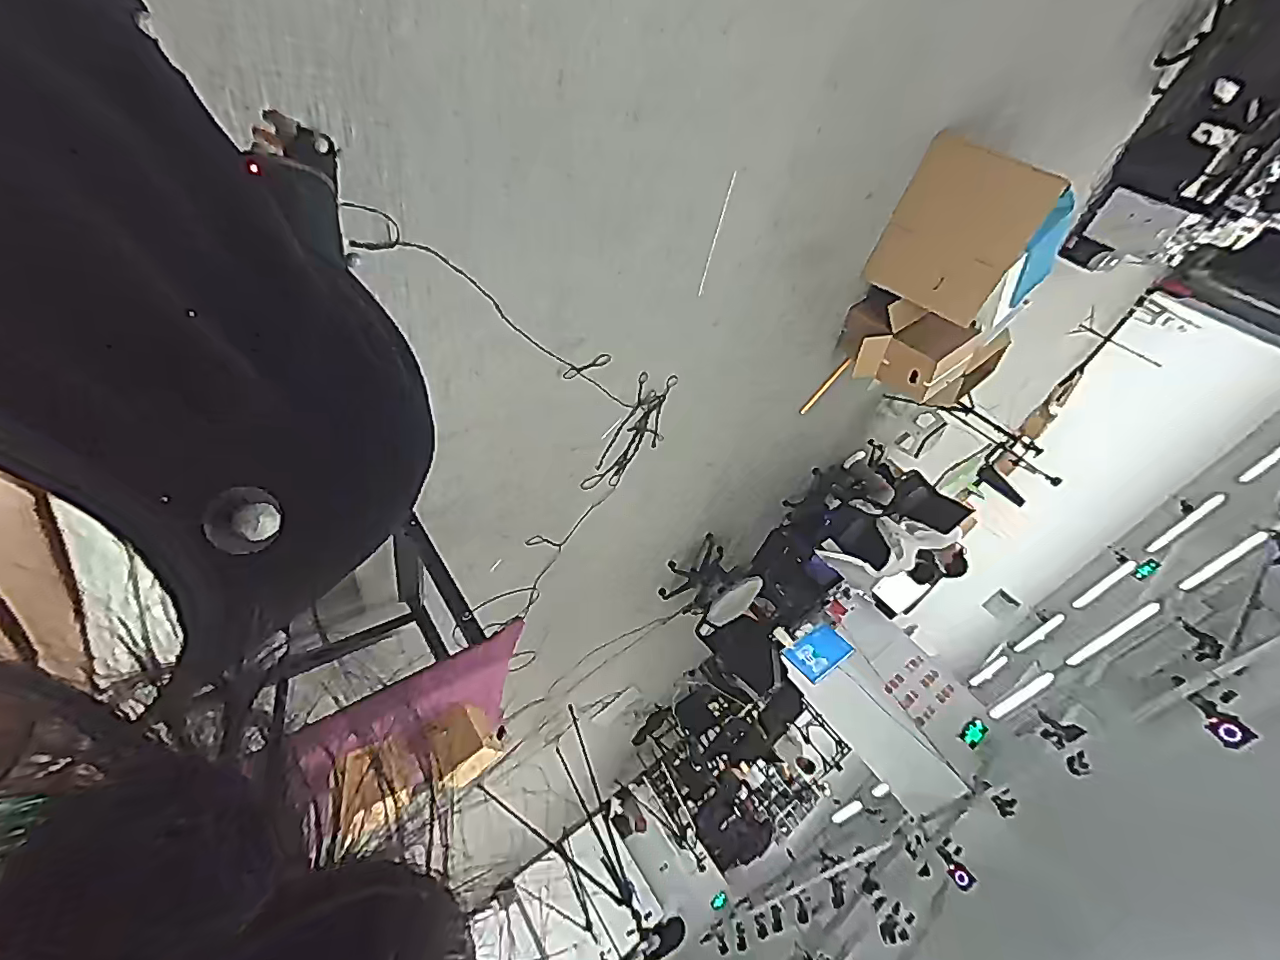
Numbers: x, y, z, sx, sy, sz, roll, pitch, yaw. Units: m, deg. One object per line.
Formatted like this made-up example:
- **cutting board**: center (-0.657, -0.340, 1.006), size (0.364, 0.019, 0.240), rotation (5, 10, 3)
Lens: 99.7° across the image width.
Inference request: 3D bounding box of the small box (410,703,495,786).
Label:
- **small box**: center (-0.591, 0.834, 1.709), size (0.168, 0.176, 0.179), rotation (-36, 150, -14)

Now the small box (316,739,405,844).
- **small box**: center (-0.785, 0.858, 1.510), size (0.168, 0.176, 0.179), rotation (-9, 137, -46)
